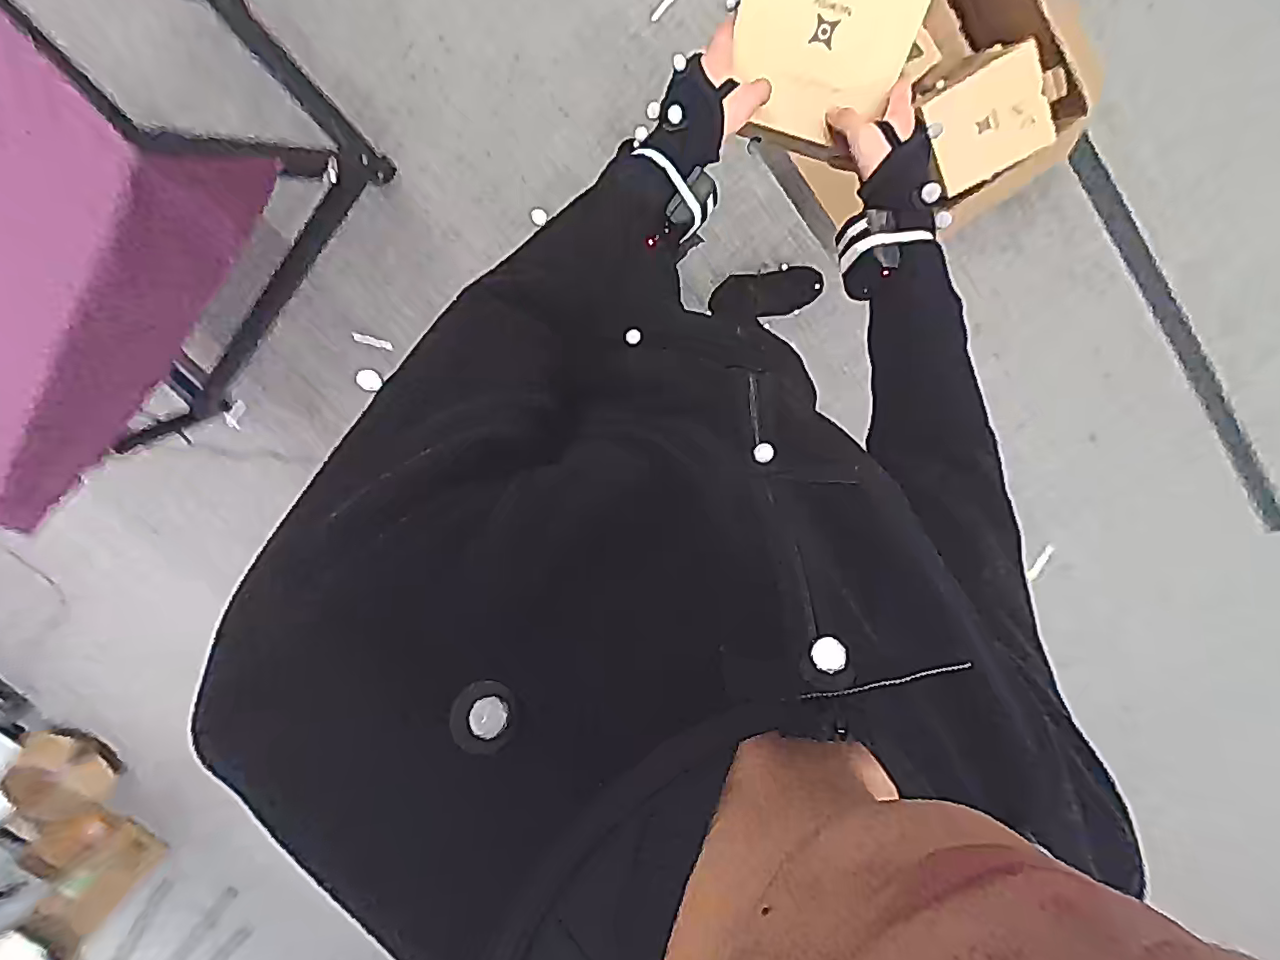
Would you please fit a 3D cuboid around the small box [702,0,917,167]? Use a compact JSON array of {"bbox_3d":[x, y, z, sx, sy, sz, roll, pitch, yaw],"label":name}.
[{"bbox_3d":[0.168,-0.457,0.579,0.168,0.176,0.179,14,118,-3],"label":"small box"}]
